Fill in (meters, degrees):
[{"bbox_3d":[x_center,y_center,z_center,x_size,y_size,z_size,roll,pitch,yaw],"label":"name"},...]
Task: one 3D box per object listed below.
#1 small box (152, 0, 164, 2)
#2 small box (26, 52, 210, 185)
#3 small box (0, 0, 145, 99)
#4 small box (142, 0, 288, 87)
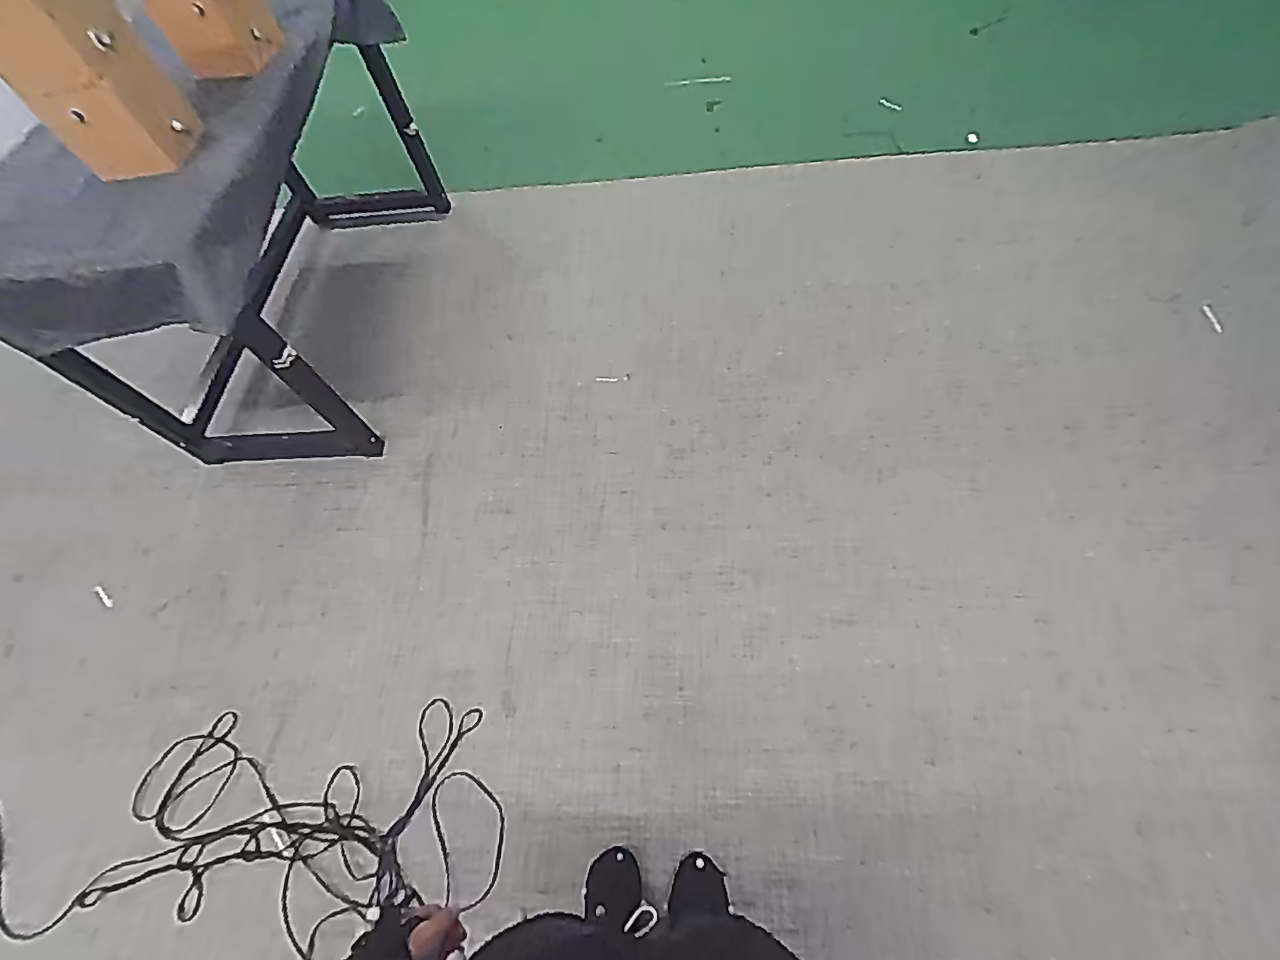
[{"bbox_3d":[-0.988,-1.152,1.141,0.179,0.176,0.168,-2,61,4],"label":"small box"},{"bbox_3d":[-1.045,-0.729,1.102,0.179,0.176,0.168,-5,61,3],"label":"small box"},{"bbox_3d":[-1.061,-0.811,0.962,0.179,0.176,0.168,-4,62,3],"label":"small box"},{"bbox_3d":[-0.992,-1.061,1.279,0.179,0.176,0.168,1,61,7],"label":"small box"}]
